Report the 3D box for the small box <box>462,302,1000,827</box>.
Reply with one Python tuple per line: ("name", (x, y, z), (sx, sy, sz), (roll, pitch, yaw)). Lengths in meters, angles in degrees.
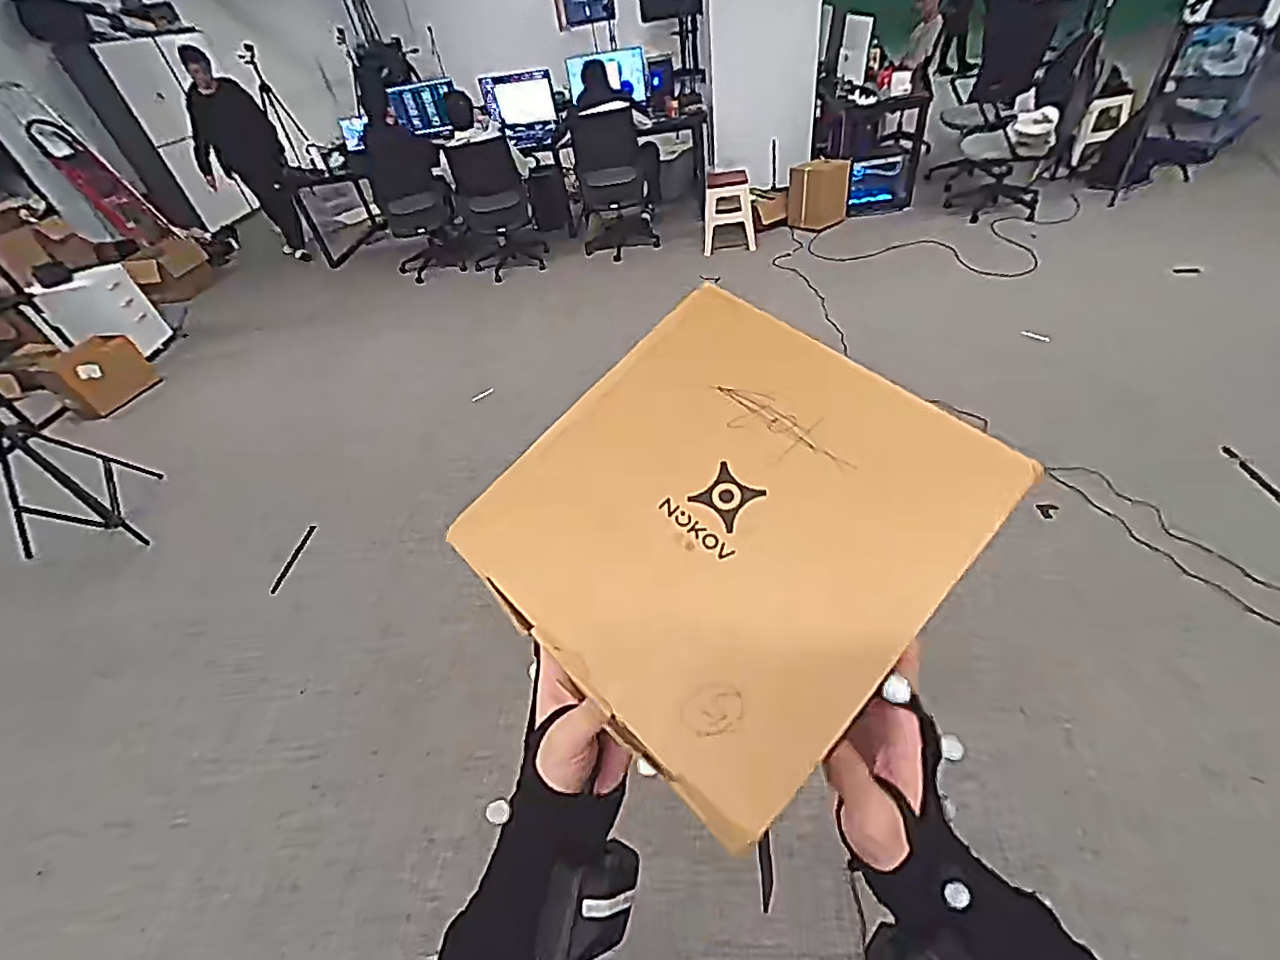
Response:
("small box", (0.046, 0.047, 0.302), (0.168, 0.176, 0.179), (37, 76, 23))
